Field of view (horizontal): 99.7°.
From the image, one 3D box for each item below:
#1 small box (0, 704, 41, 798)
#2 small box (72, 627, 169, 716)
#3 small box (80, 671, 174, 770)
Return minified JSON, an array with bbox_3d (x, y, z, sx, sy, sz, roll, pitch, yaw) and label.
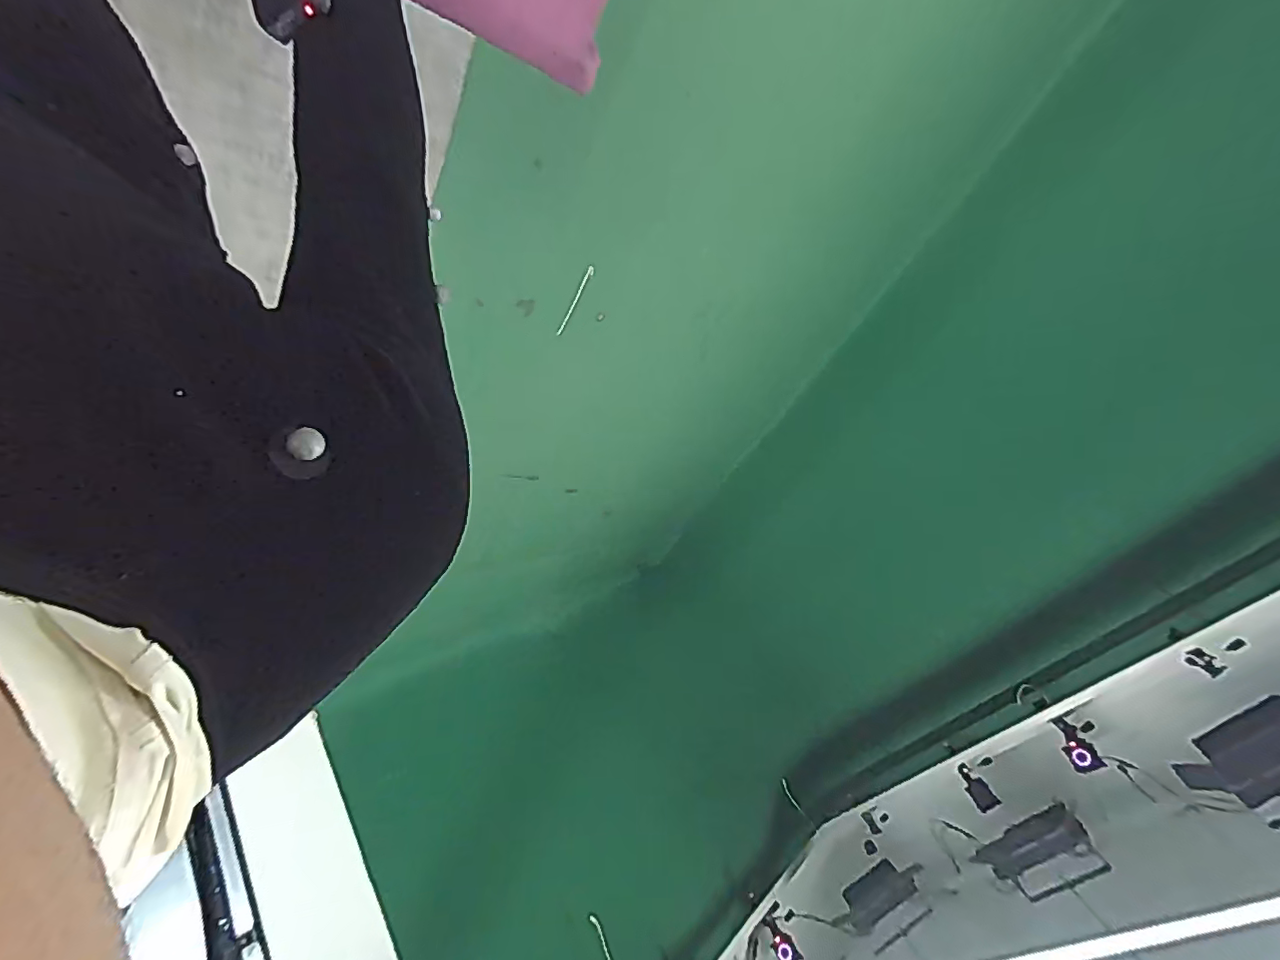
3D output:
[{"bbox_3d":[-1.606,0.676,1.324,0.168,0.176,0.179,-1,138,-52],"label":"small box"},{"bbox_3d":[-1.545,0.560,1.607,0.179,0.176,0.168,0,136,-53],"label":"small box"},{"bbox_3d":[-1.456,0.675,1.532,0.168,0.176,0.179,1,135,-53],"label":"small box"}]
